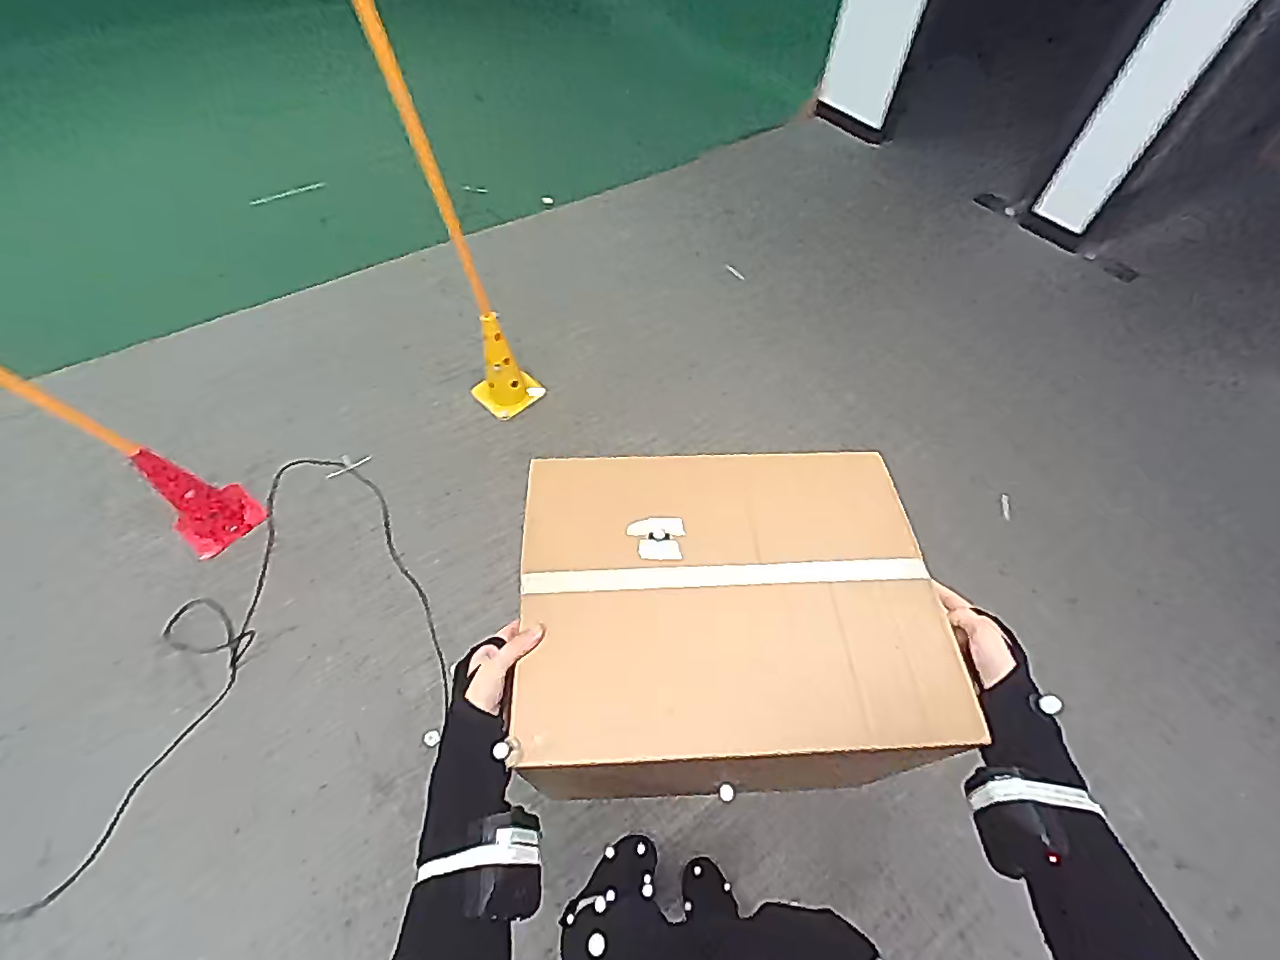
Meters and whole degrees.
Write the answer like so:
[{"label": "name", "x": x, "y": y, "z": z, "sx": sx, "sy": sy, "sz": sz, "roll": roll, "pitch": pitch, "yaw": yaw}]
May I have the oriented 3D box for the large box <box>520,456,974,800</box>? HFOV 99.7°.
[{"label": "large box", "x": 0.087, "y": 0.193, "z": 0.668, "sx": 0.408, "sy": 0.320, "sz": 0.320, "roll": -3, "pitch": 54, "yaw": -2}]
